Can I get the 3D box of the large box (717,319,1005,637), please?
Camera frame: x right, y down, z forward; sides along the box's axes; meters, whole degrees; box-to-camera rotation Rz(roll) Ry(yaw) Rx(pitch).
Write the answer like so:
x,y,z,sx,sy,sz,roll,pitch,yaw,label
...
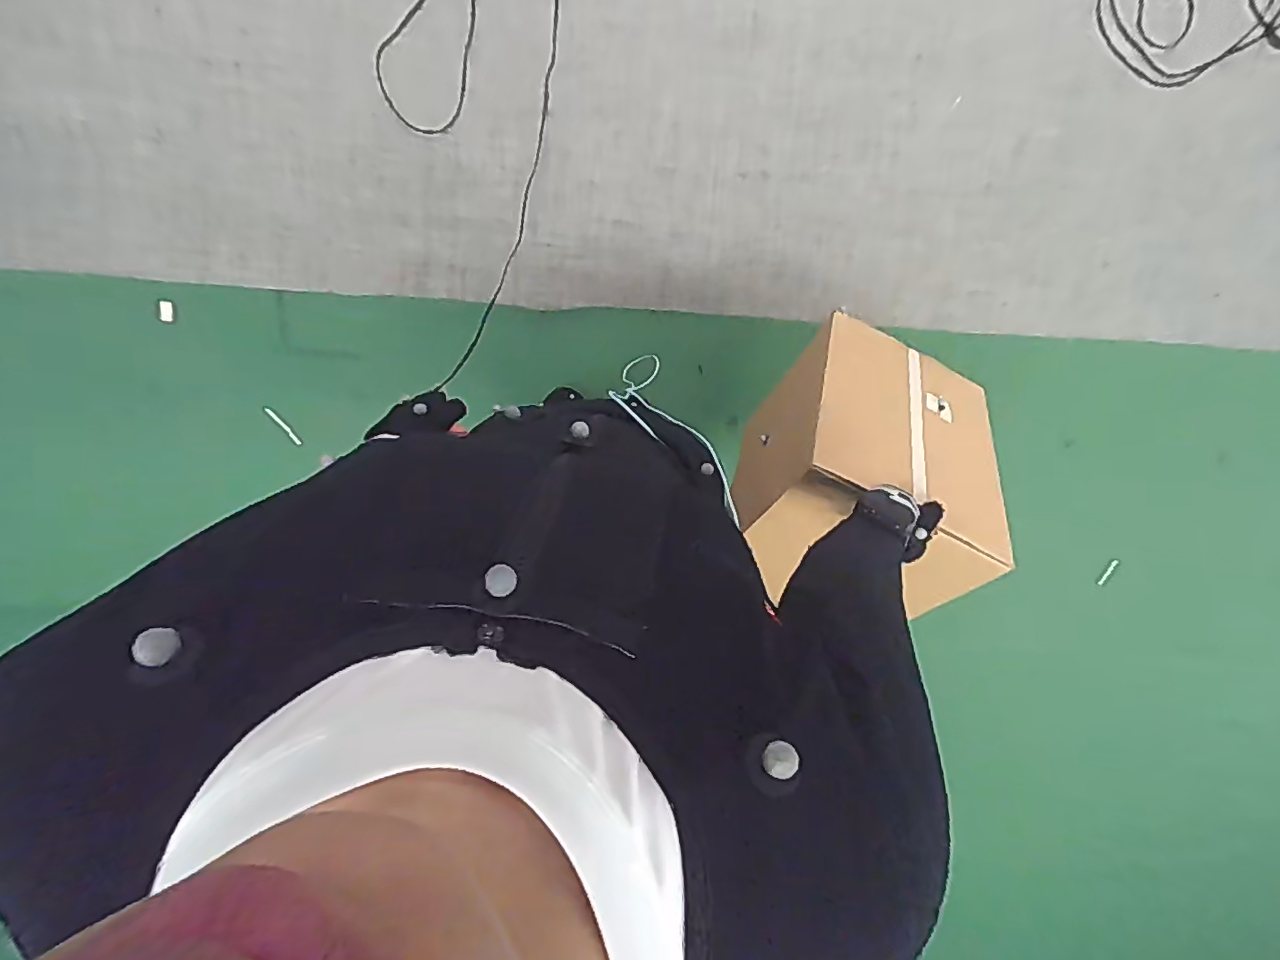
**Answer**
x,y,z,sx,sy,sz,roll,pitch,yaw,label
0.369,-0.002,0.964,0.320,0.408,0.320,28,139,-5,large box
